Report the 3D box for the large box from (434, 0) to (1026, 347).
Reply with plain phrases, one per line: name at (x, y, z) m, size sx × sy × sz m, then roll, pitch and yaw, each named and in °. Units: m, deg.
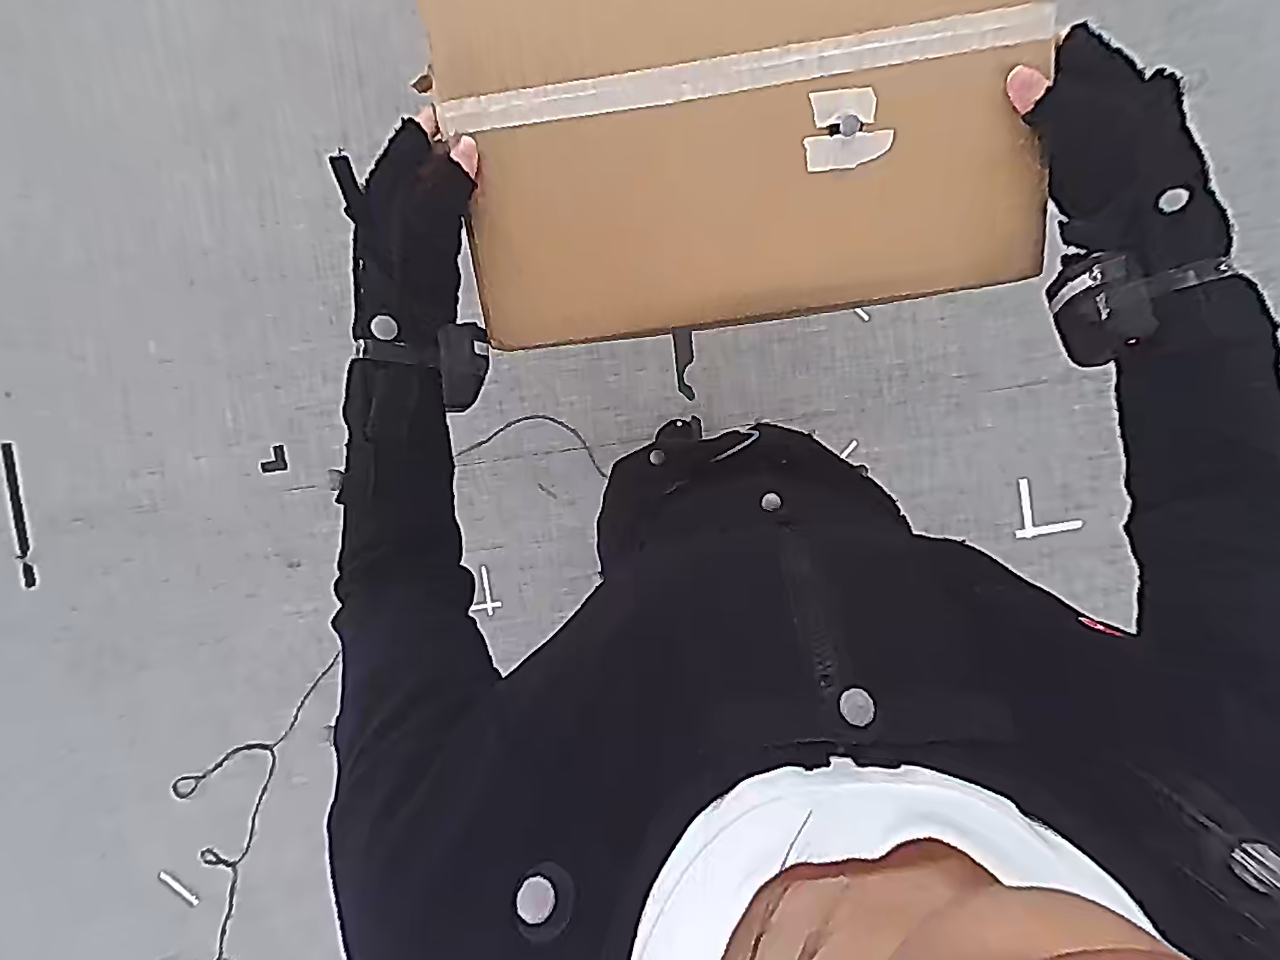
large box at (0.067, -0.314, 0.523) m, size 0.408 × 0.320 × 0.320 m, roll -7°, pitch 105°, yaw 3°
